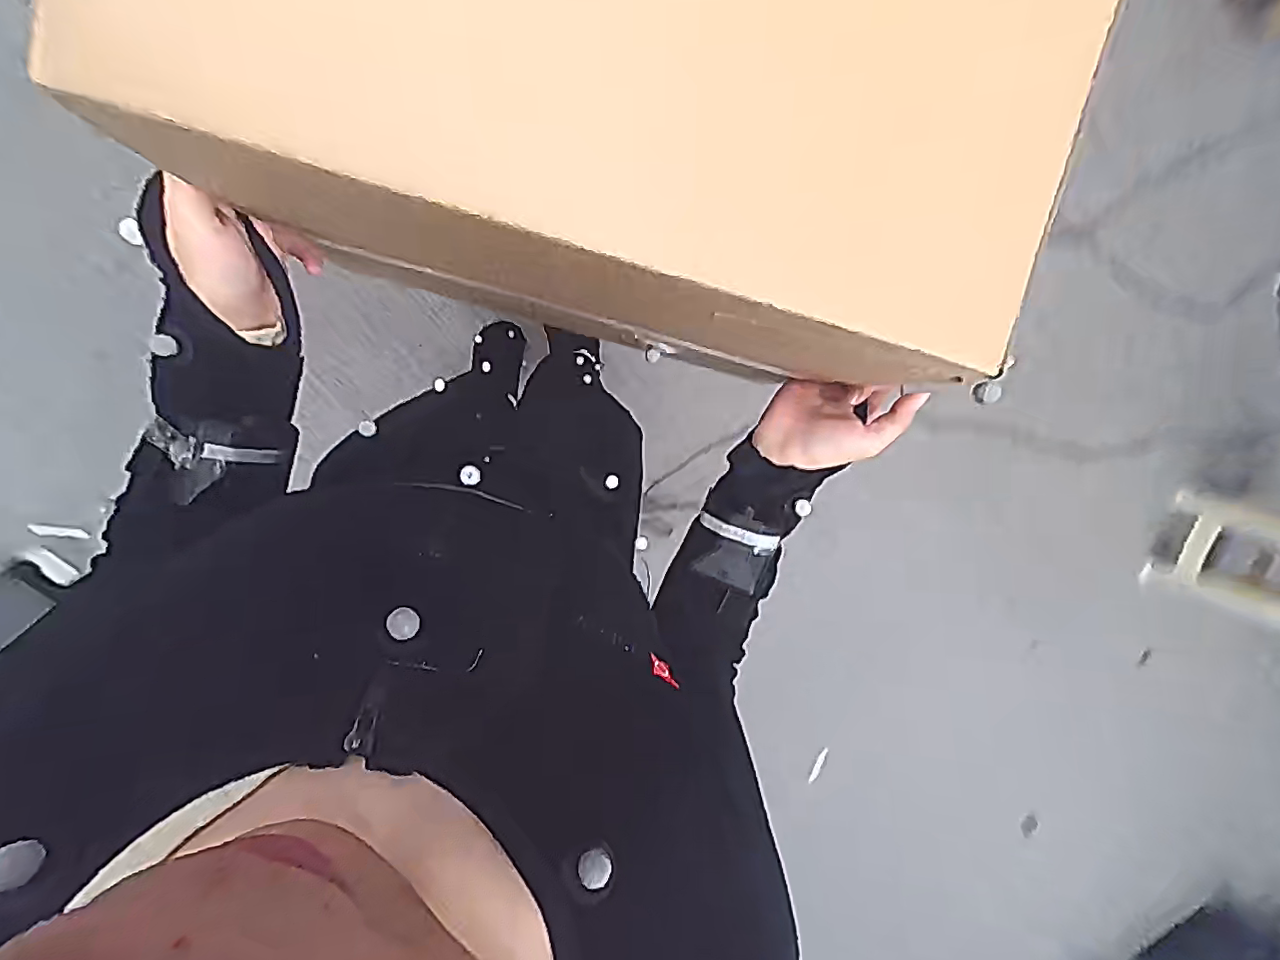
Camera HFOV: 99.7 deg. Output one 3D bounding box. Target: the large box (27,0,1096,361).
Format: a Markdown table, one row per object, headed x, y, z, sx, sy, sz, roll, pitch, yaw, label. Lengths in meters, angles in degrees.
| x | y | z | sx | sy | sz | roll | pitch | yaw | label |
| --- | --- | --- | --- | --- | --- | --- | --- | --- | --- |
| -0.013 | -0.278 | 0.343 | 0.408 | 0.320 | 0.320 | 10 | 99 | -11 | large box |
